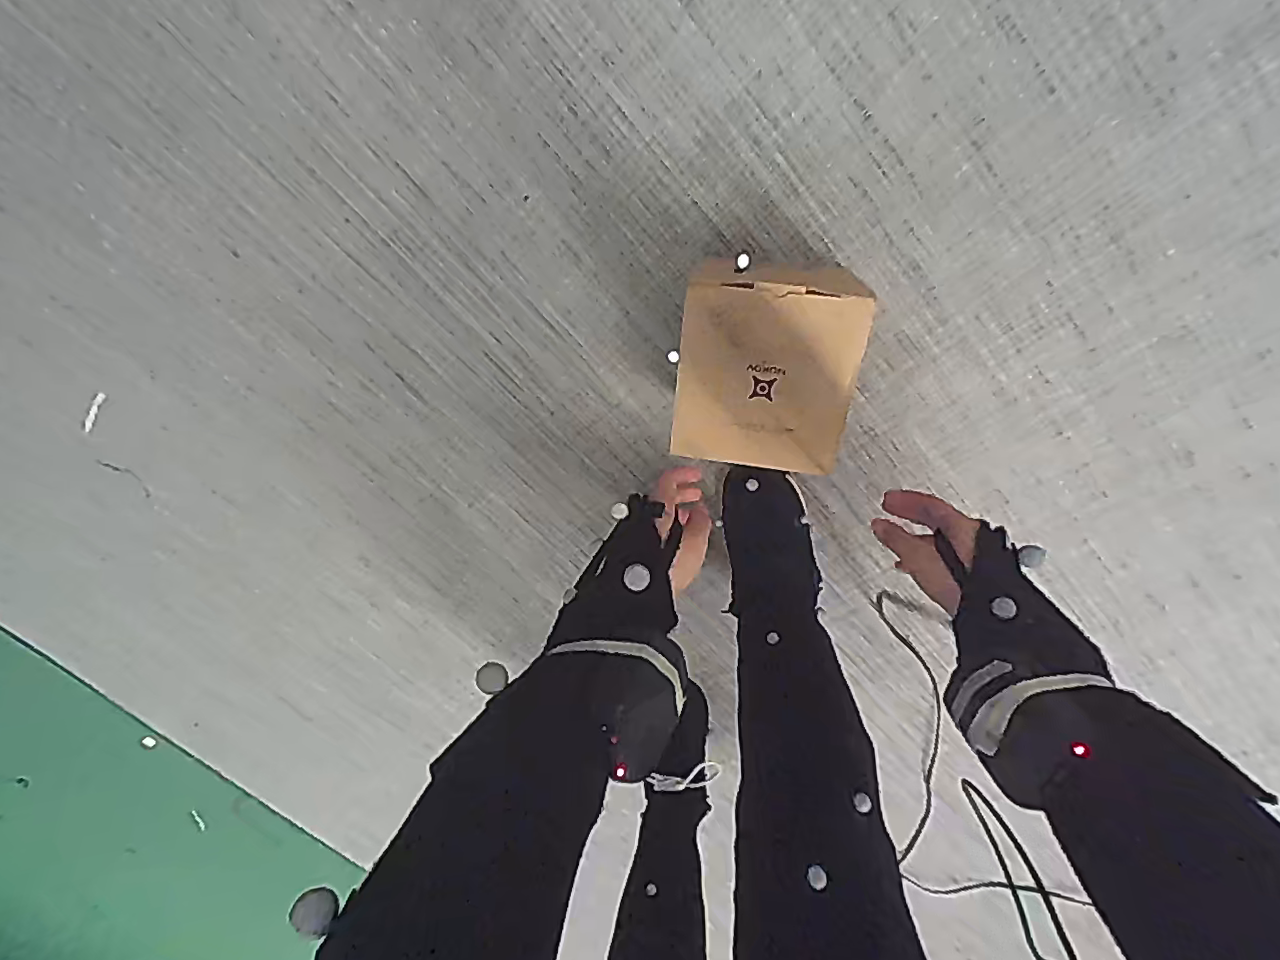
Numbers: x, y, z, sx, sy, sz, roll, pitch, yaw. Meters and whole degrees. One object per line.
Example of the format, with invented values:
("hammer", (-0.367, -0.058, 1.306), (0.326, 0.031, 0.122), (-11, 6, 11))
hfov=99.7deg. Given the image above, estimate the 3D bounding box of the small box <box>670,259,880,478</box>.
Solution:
("small box", (0.130, -0.126, 0.566), (0.168, 0.176, 0.179), (9, 120, 9))
